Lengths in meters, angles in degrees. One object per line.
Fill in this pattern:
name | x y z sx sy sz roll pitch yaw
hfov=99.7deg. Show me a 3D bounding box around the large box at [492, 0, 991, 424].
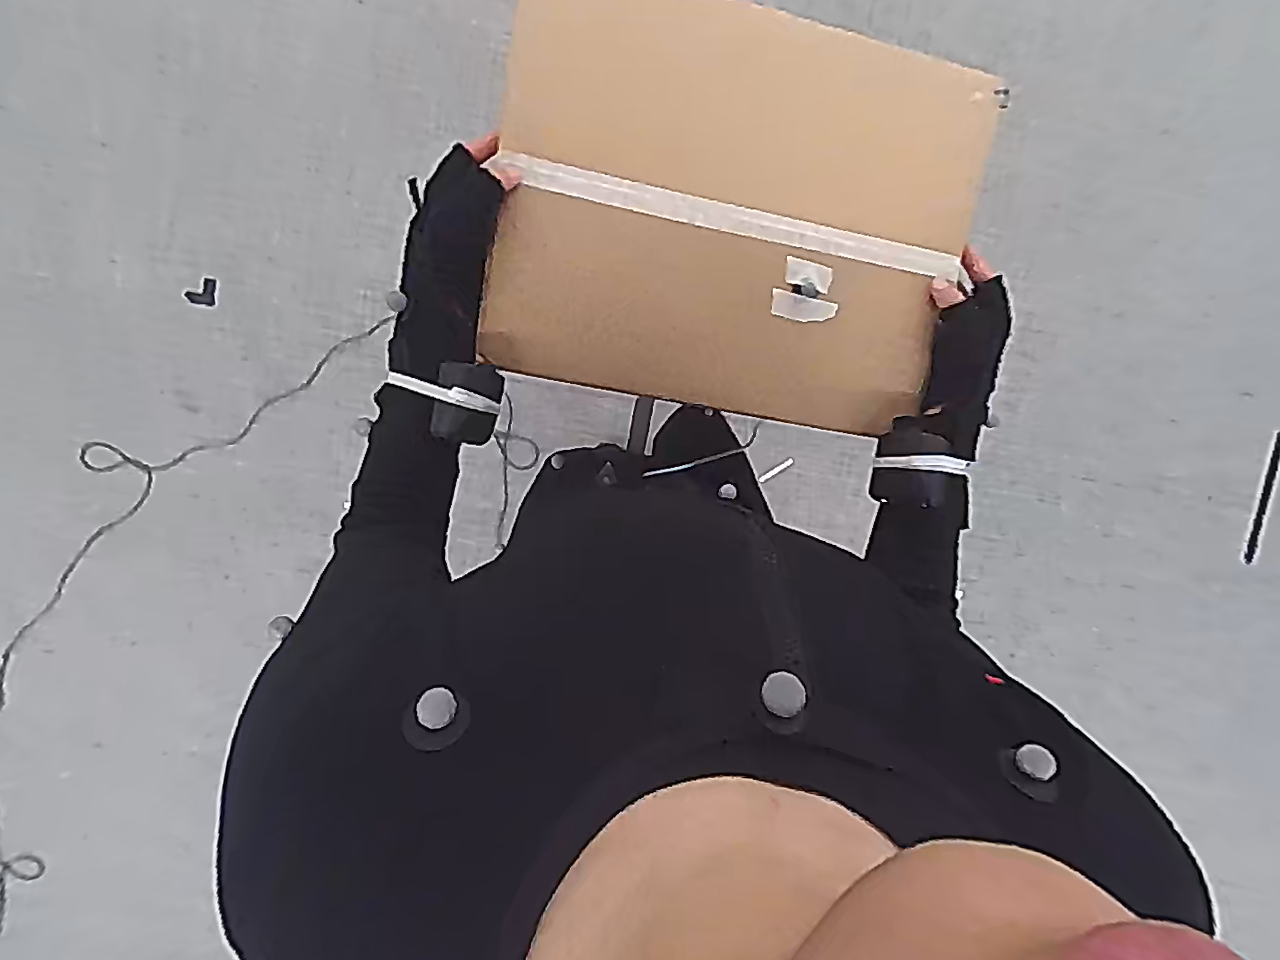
large box | 0.069 -0.260 0.612 0.408 0.320 0.320 9 102 -9
